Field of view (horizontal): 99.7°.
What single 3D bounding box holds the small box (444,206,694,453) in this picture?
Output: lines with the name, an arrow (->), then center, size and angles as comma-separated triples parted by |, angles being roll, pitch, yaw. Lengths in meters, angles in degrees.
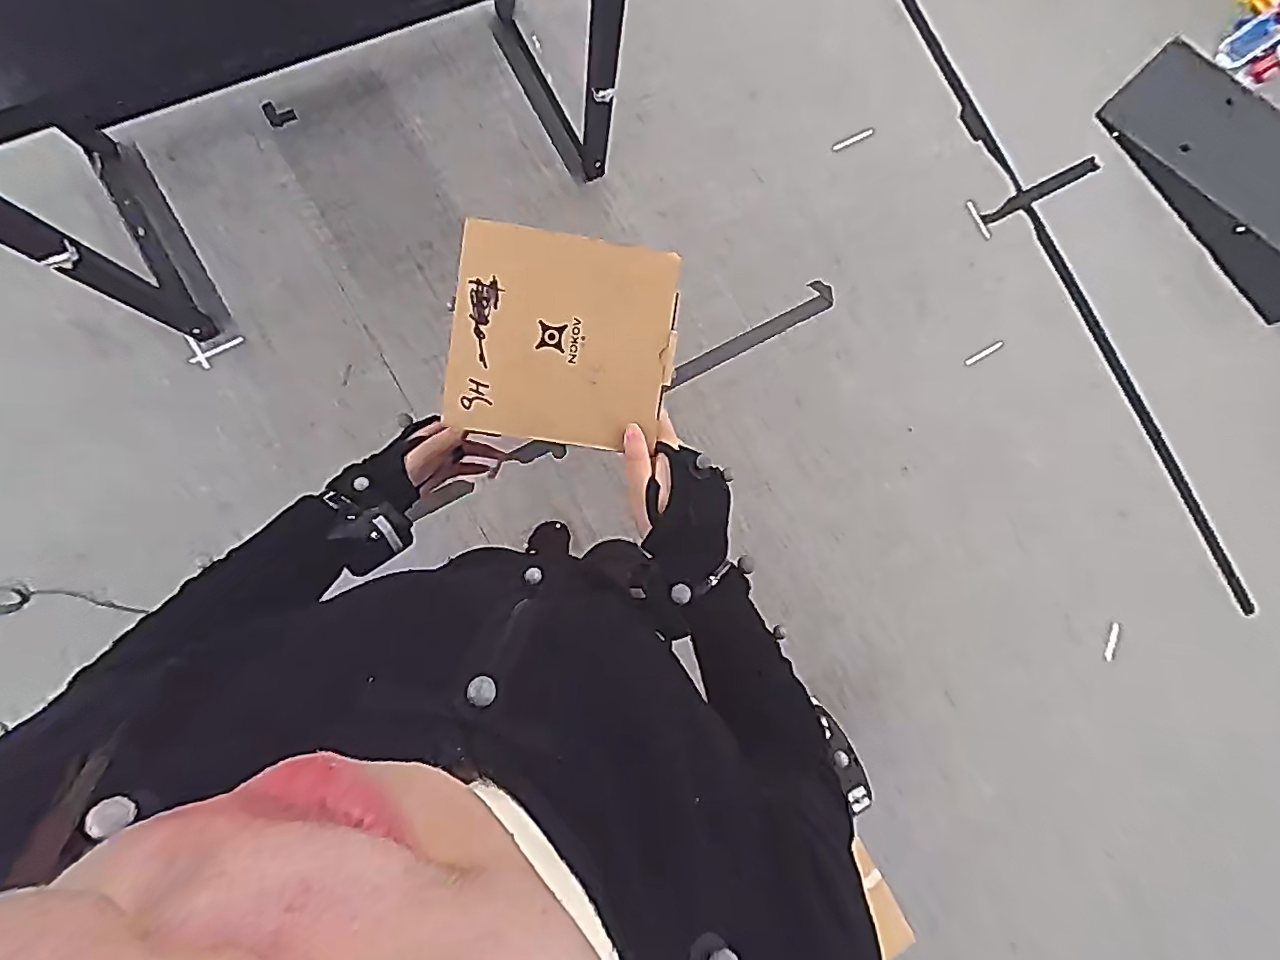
small box -> -0.062, -0.121, 0.500 | 0.179, 0.176, 0.168 | 8, 93, -5
